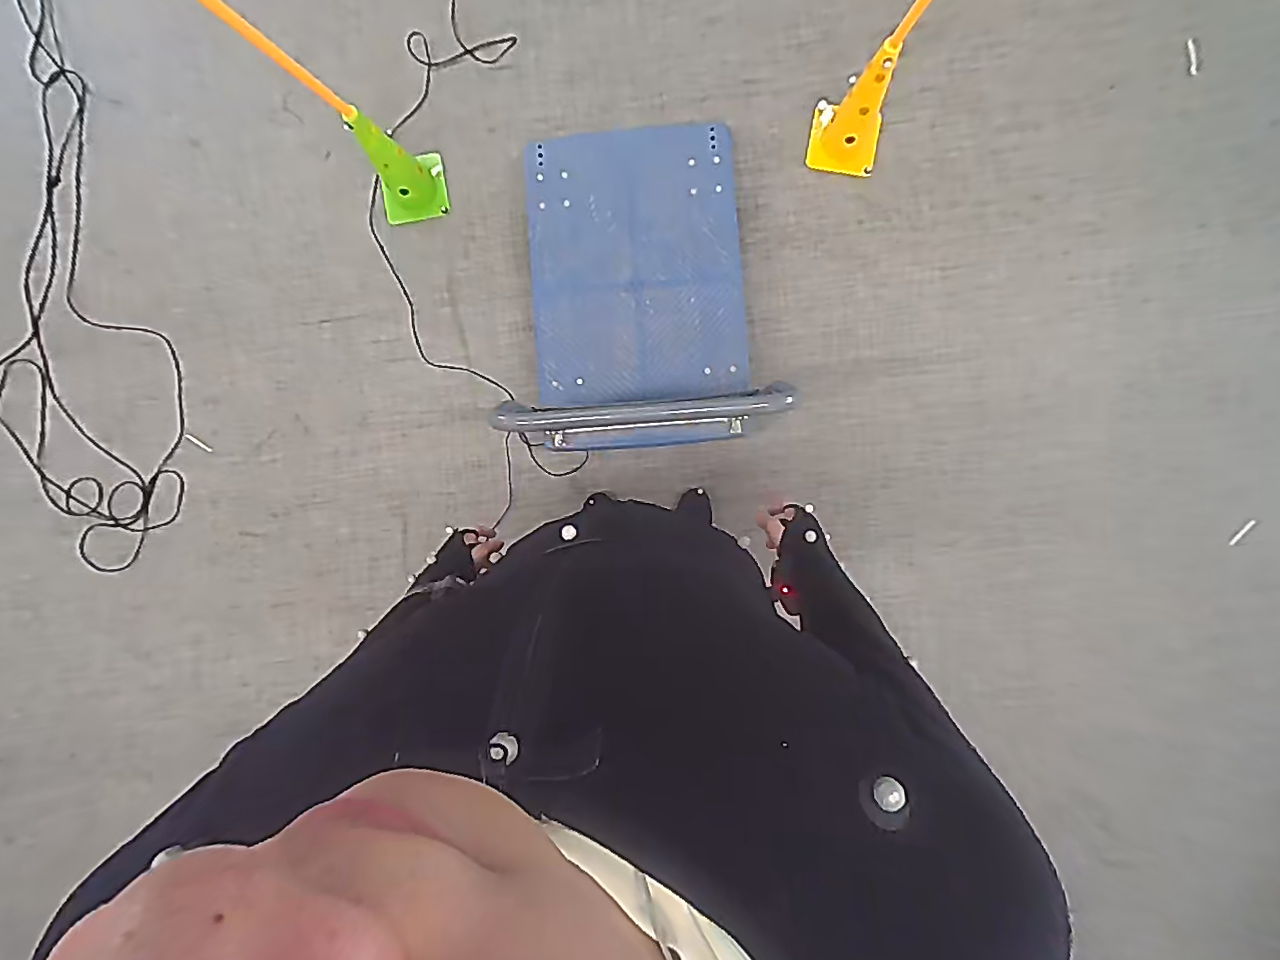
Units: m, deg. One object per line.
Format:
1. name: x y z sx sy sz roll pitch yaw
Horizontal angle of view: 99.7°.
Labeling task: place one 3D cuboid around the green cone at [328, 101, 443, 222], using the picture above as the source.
1. green cone: -0.728 -0.914 1.501 0.202 0.368 0.200 -11 88 4
